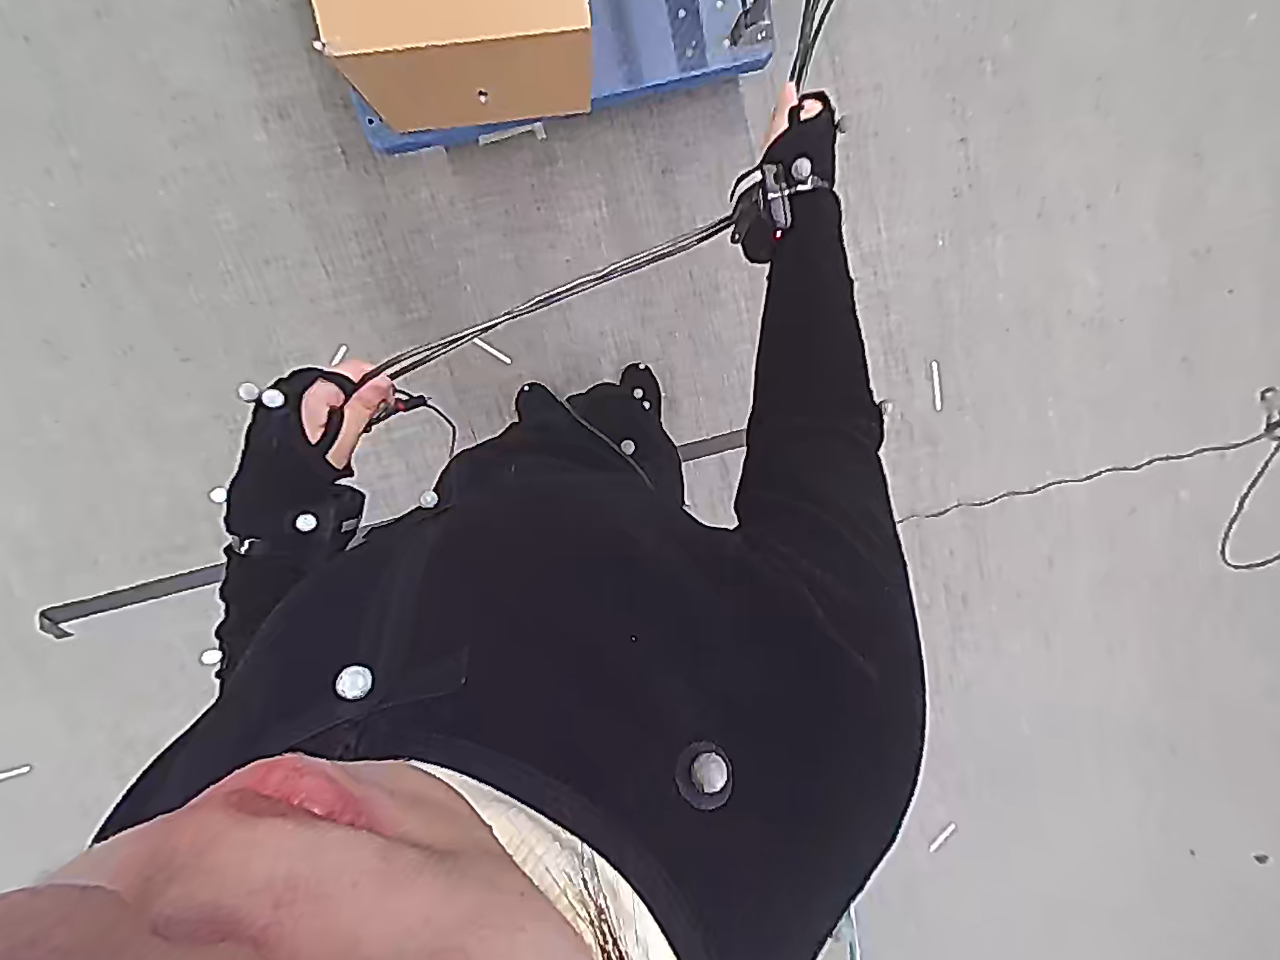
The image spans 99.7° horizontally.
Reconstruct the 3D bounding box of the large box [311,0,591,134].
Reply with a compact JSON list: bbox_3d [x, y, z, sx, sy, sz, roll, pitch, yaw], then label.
[{"bbox_3d":[-0.306,-0.836,0.922,0.408,0.320,0.320,-9,104,-3],"label":"large box"}]
